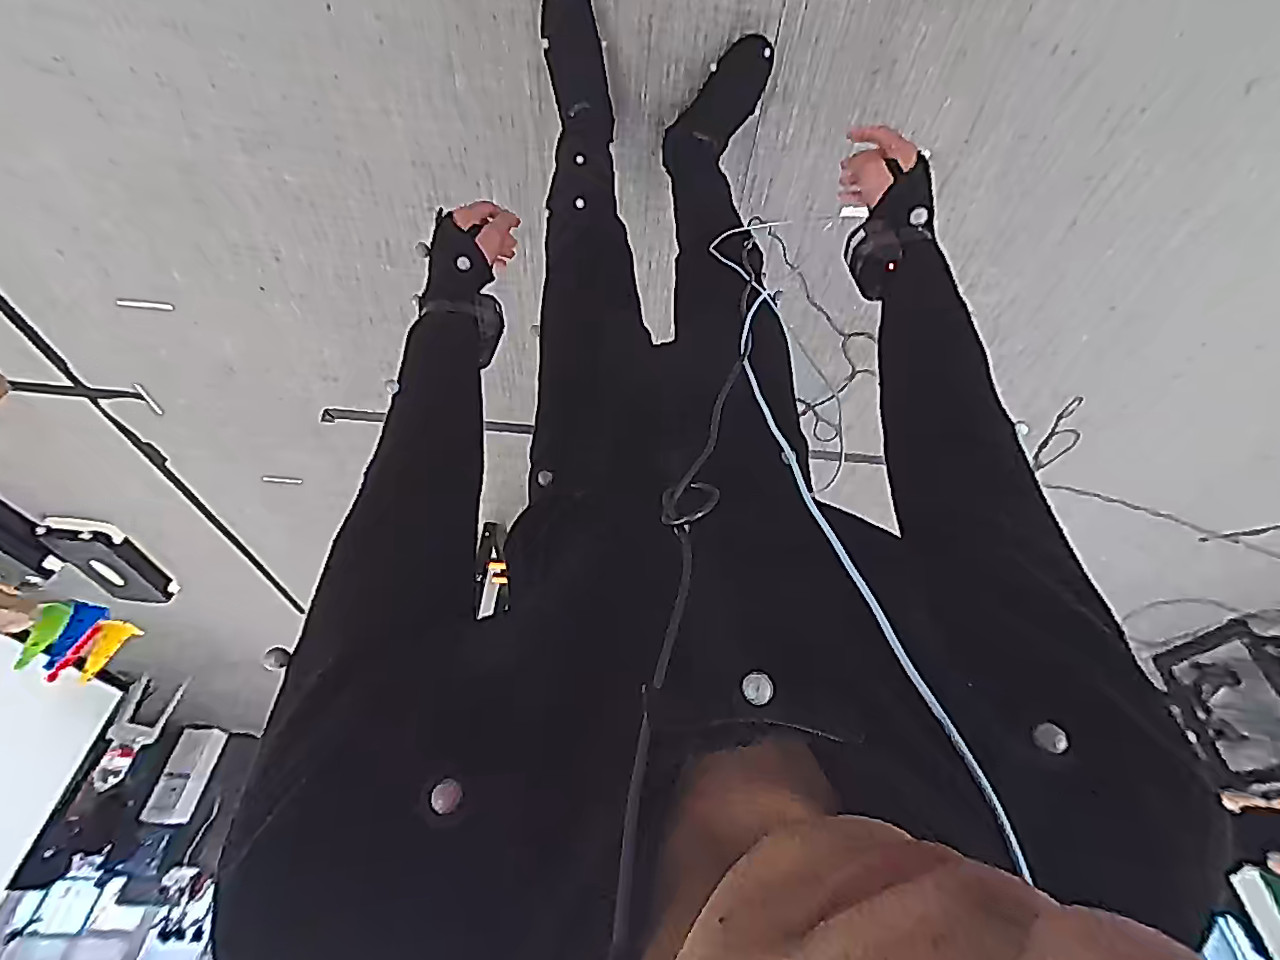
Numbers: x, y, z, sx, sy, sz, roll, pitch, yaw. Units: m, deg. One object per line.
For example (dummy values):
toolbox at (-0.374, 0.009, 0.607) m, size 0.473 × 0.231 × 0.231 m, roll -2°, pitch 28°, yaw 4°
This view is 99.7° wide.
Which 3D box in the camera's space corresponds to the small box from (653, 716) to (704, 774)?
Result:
small box at (0.144, 1.026, 2.090) m, size 0.168 × 0.176 × 0.179 m, roll 6°, pitch 141°, yaw -5°
